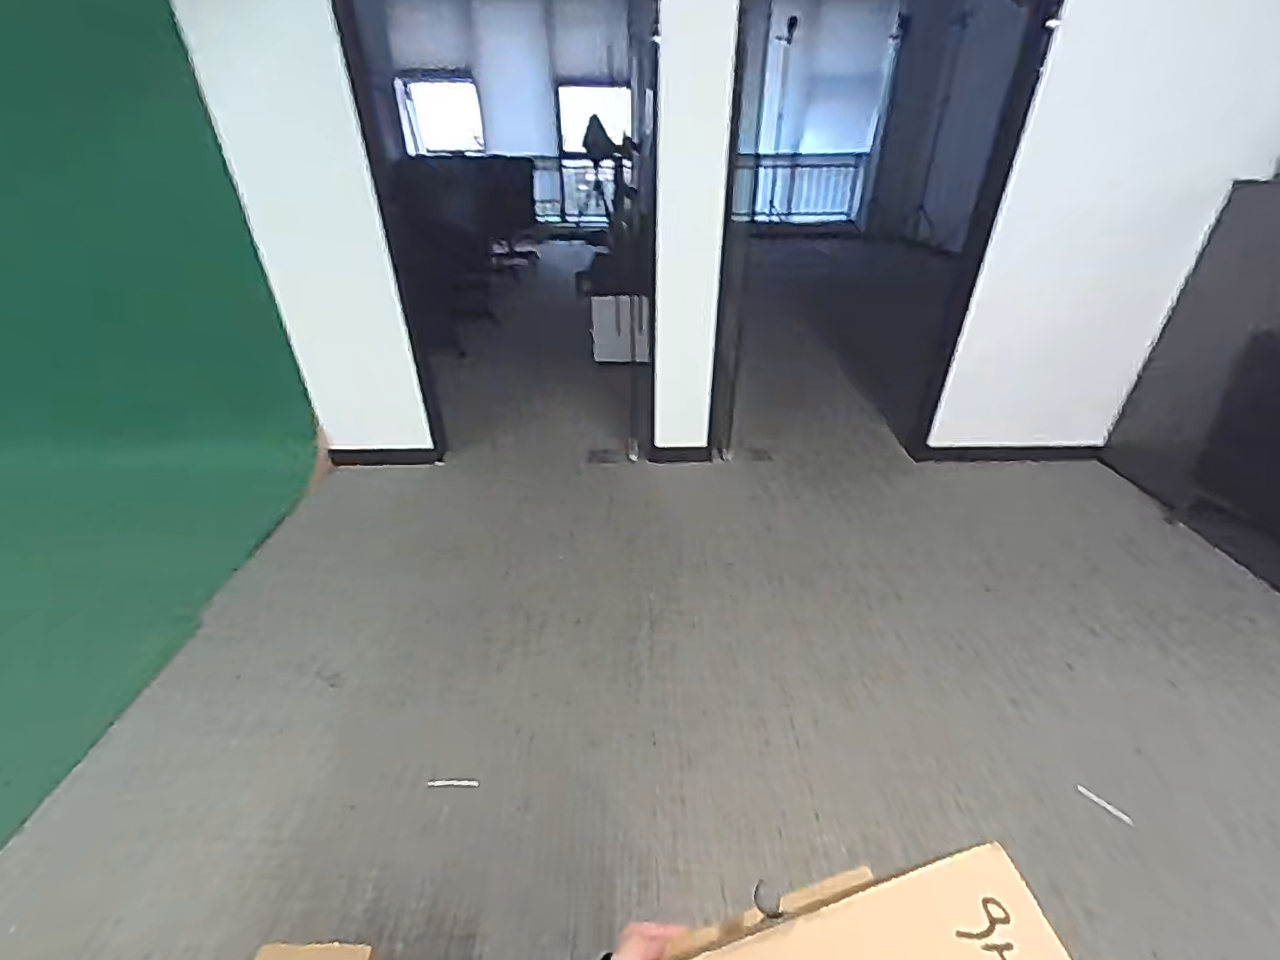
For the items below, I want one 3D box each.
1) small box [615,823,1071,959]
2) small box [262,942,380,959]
[{"bbox_3d":[0.097,0.282,0.236,0.179,0.176,0.168,-14,50,-8],"label":"small box"},{"bbox_3d":[-0.488,0.829,0.807,0.179,0.176,0.168,0,30,1],"label":"small box"}]
